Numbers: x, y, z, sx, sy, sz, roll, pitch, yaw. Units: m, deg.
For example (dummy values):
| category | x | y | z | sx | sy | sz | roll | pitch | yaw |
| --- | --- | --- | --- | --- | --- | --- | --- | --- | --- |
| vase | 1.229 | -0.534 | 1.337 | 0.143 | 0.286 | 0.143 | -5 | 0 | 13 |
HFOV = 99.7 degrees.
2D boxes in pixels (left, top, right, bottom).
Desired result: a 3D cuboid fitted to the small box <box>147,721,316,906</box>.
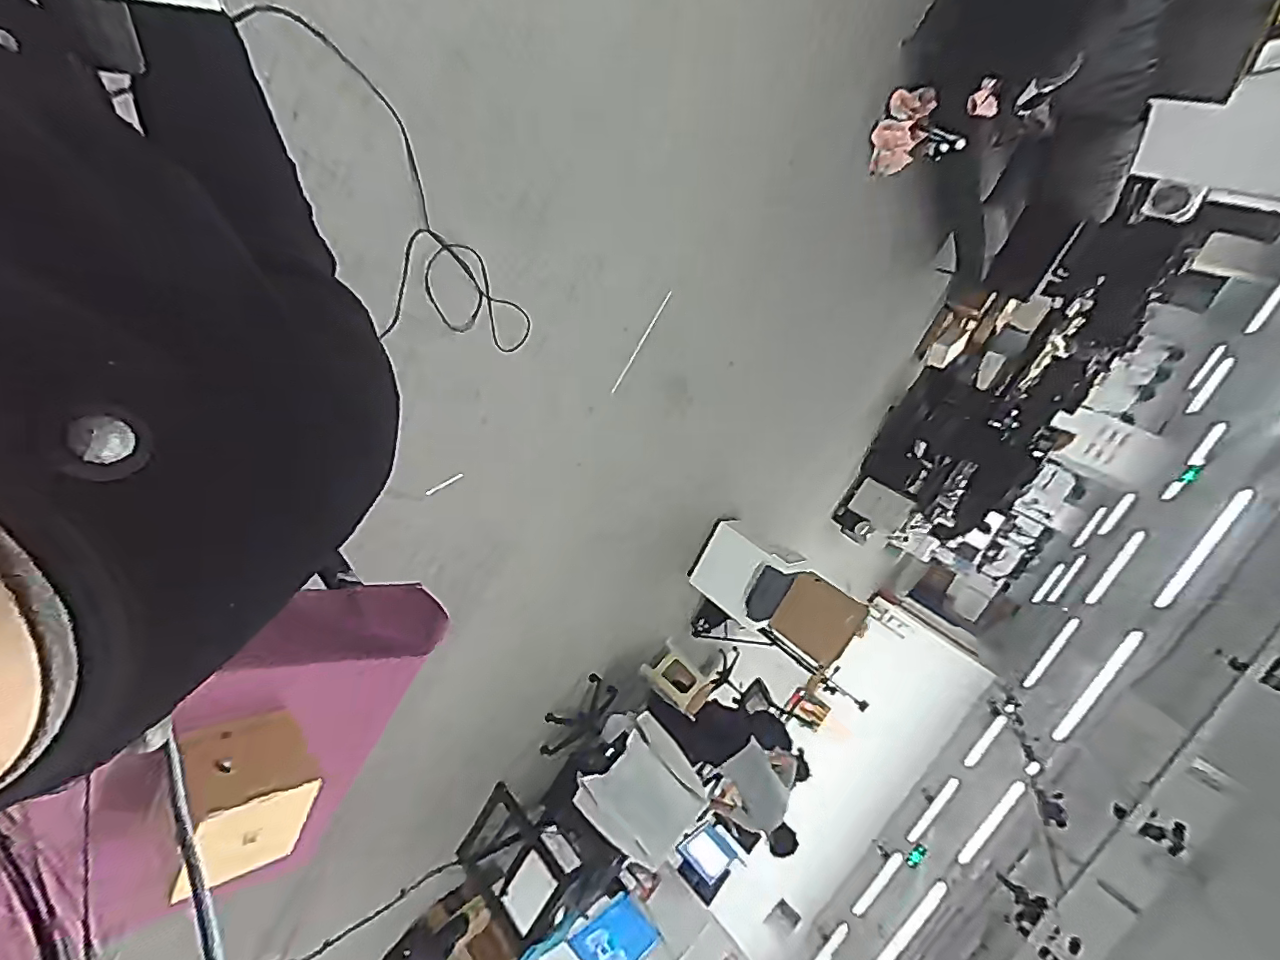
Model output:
| category | x | y | z | sx | sy | sz | roll | pitch | yaw |
| --- | --- | --- | --- | --- | --- | --- | --- | --- | --- |
| small box | -0.674 | 0.526 | 0.889 | 0.168 | 0.176 | 0.179 | 10 | 112 | -54 |
